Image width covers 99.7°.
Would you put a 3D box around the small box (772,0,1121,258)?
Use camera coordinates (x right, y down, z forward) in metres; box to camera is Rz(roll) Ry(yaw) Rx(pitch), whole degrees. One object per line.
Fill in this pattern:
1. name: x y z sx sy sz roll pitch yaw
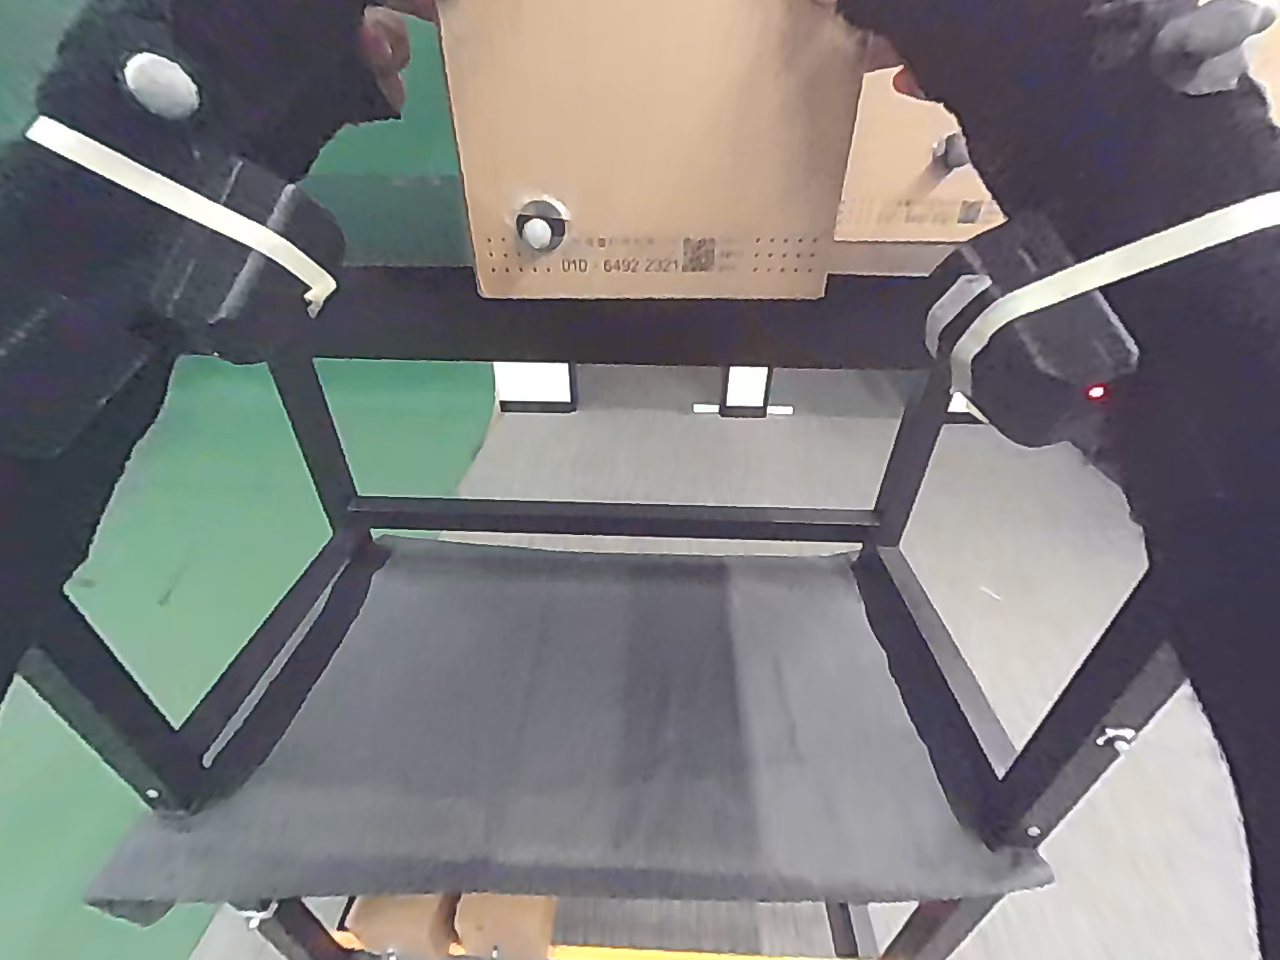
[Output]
1. small box: 0.208 -0.282 0.427 0.168 0.176 0.179 1 33 1
